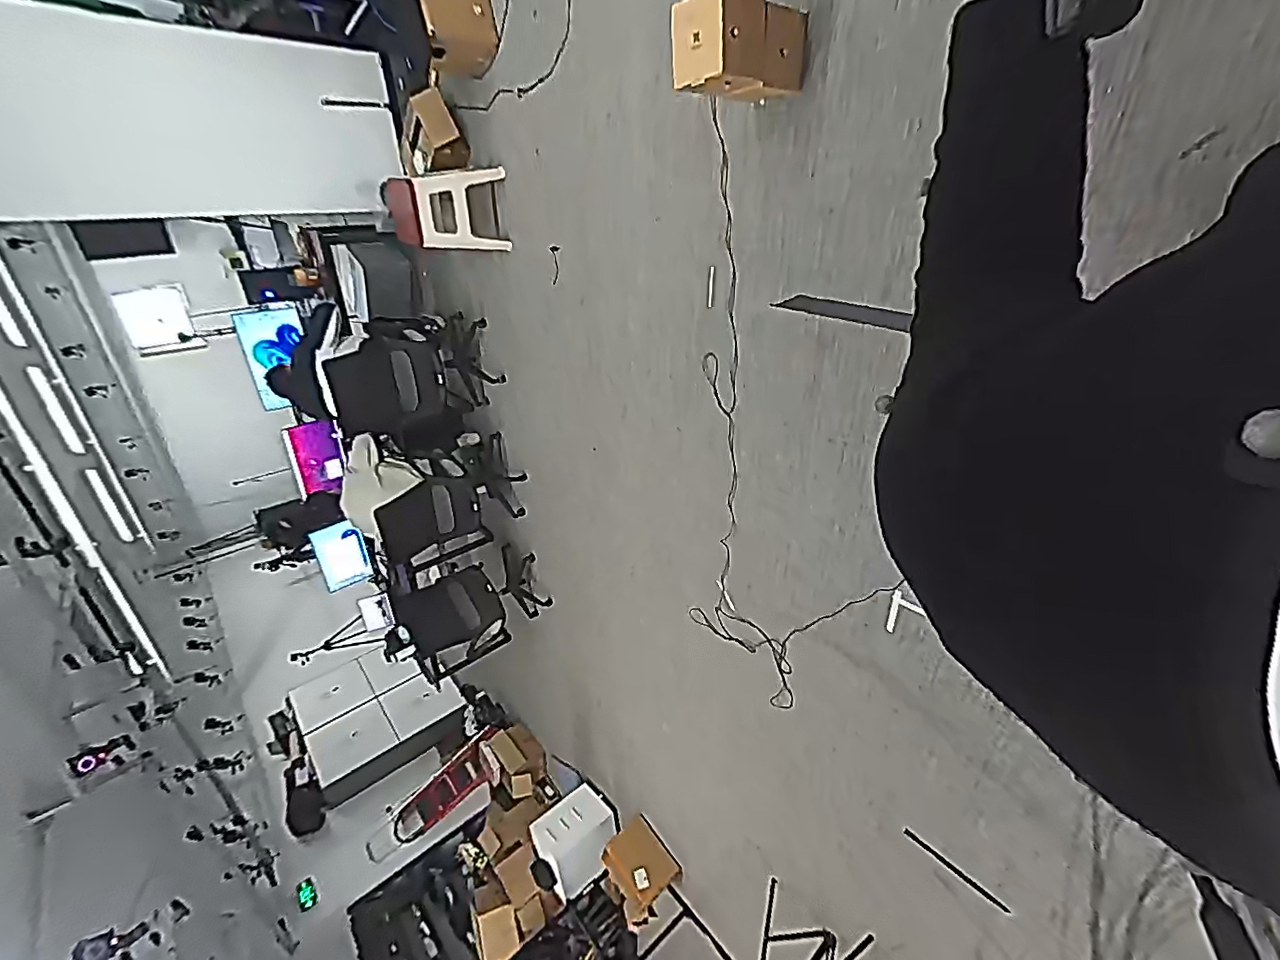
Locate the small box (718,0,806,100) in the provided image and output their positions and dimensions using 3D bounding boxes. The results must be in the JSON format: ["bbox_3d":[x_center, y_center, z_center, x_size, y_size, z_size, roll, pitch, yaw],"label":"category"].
[{"bbox_3d":[0.326,-1.141,1.446,0.168,0.176,0.179,25,128,44],"label":"small box"}]

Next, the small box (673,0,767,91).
[{"bbox_3d":[0.202,-1.095,1.351,0.168,0.176,0.179,21,123,45],"label":"small box"}]
